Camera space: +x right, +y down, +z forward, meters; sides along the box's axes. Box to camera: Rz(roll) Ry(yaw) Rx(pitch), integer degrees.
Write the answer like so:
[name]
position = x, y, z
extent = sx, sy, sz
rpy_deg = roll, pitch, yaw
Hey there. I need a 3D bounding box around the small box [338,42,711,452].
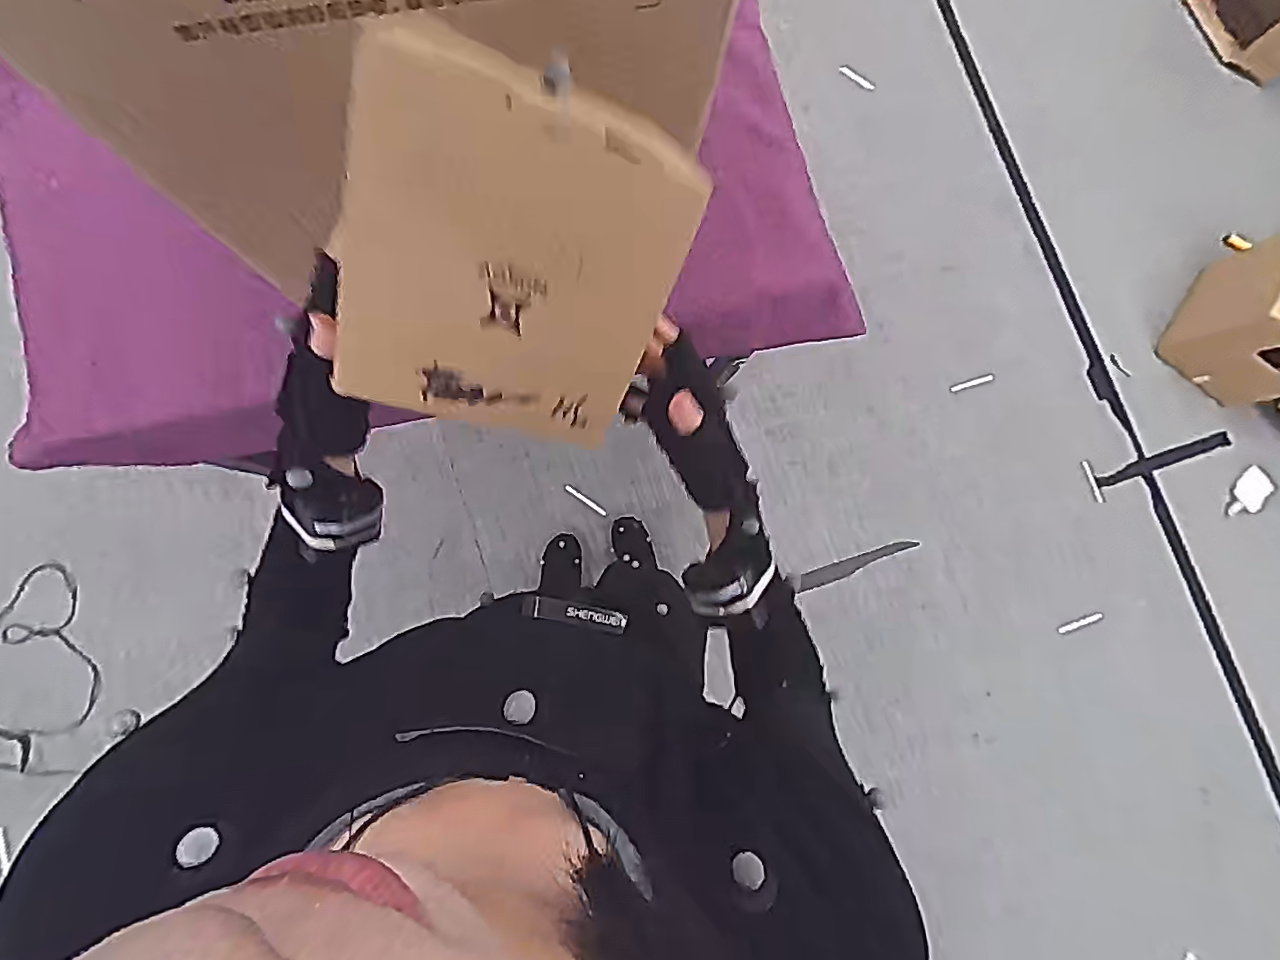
[small box]
position = -0.081, -0.151, 0.357
extent = 0.168, 0.179, 0.176
rpy_deg = 13, 37, -22
